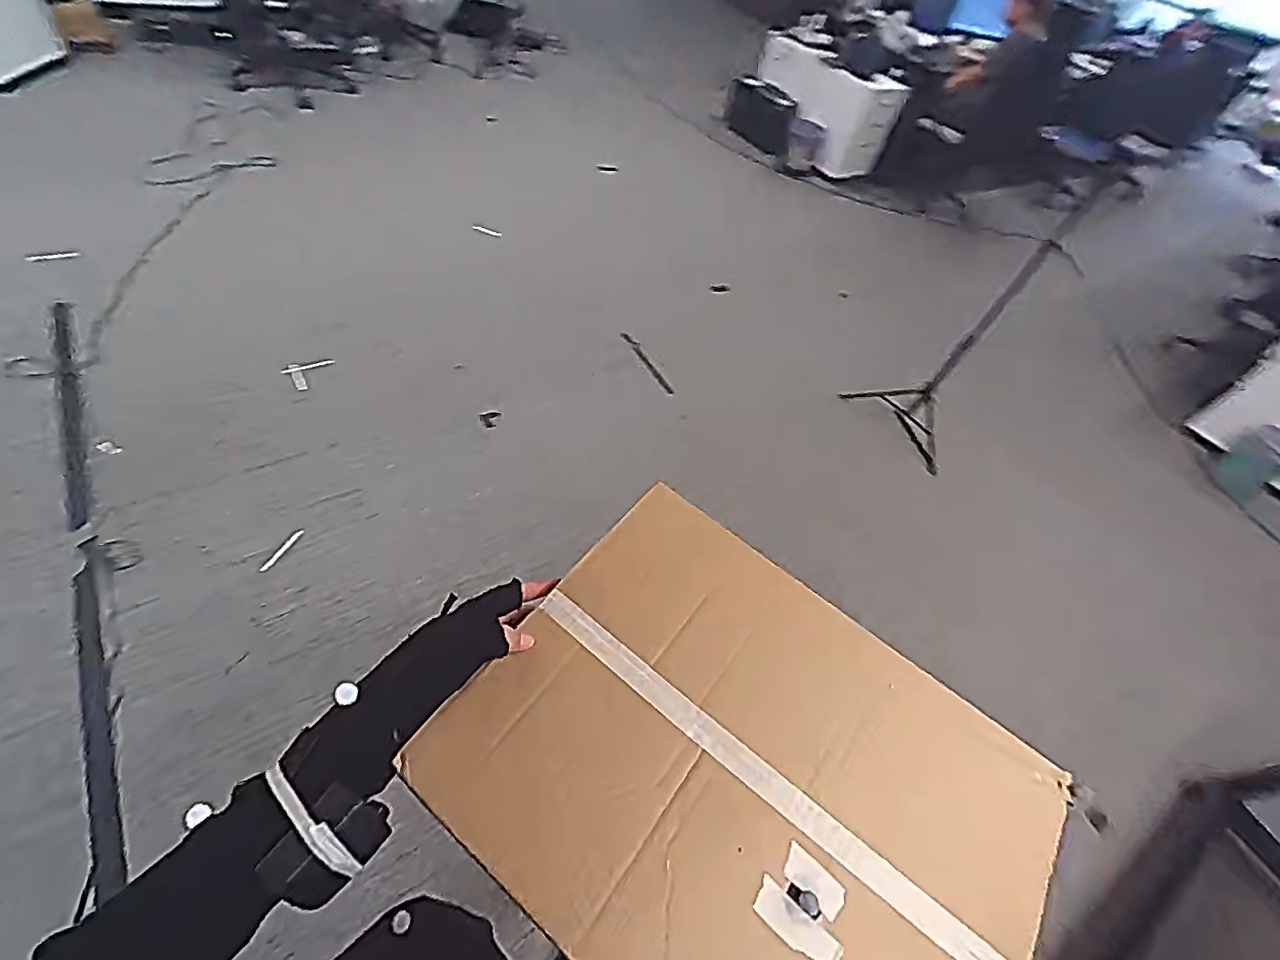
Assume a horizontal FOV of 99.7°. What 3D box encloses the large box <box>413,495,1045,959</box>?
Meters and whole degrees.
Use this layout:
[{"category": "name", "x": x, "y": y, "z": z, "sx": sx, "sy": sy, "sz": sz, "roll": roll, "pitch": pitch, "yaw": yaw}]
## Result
[{"category": "large box", "x": 0.062, "y": 0.295, "z": 0.530, "sx": 0.408, "sy": 0.320, "sz": 0.320, "roll": 36, "pitch": 59, "yaw": 14}]
